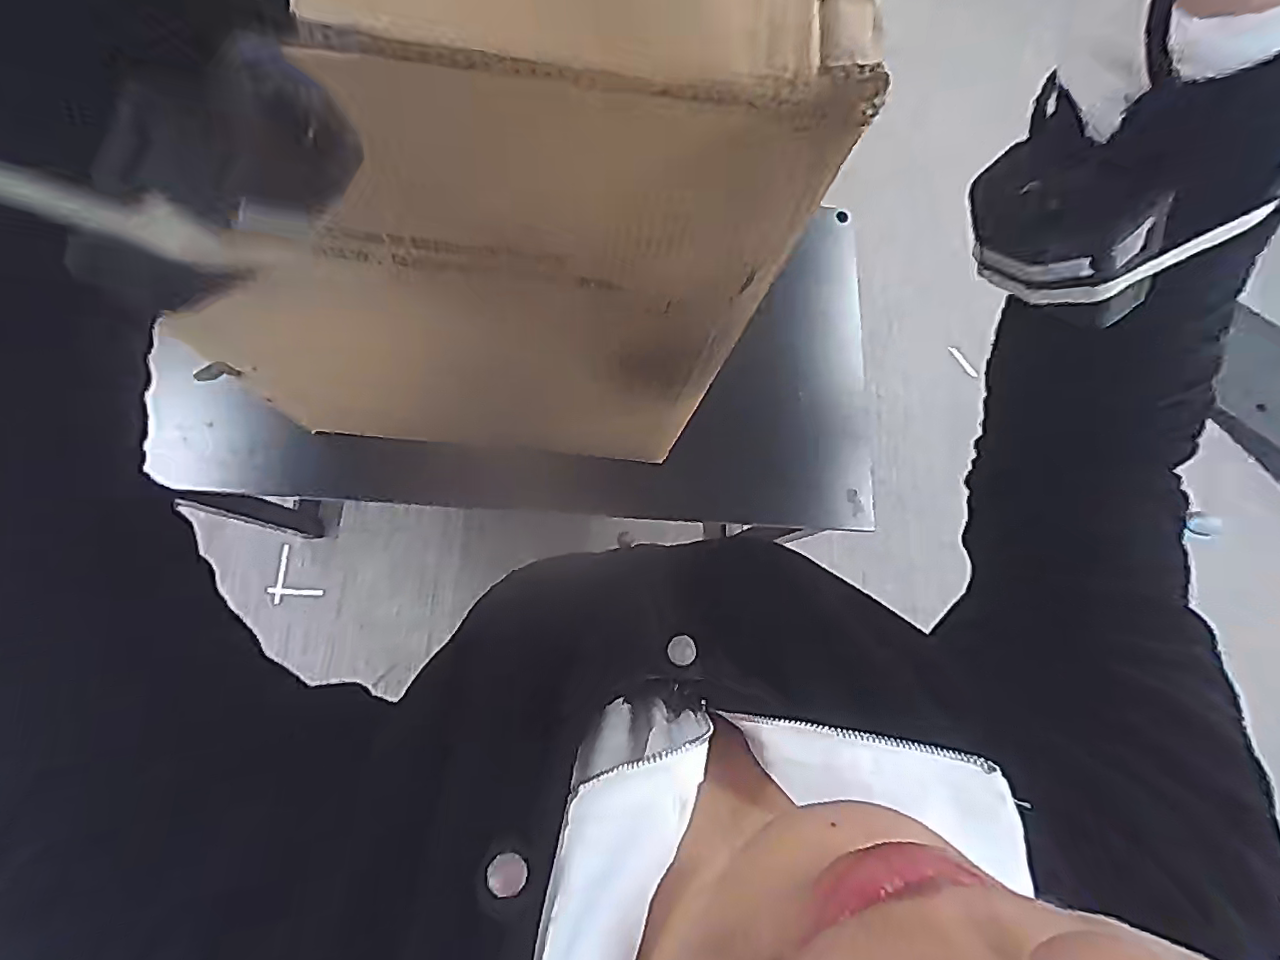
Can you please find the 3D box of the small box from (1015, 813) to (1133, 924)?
[{"bbox_3d":[1.089,0.956,1.347,0.179,0.176,0.168,-3,77,-7],"label":"small box"}]
